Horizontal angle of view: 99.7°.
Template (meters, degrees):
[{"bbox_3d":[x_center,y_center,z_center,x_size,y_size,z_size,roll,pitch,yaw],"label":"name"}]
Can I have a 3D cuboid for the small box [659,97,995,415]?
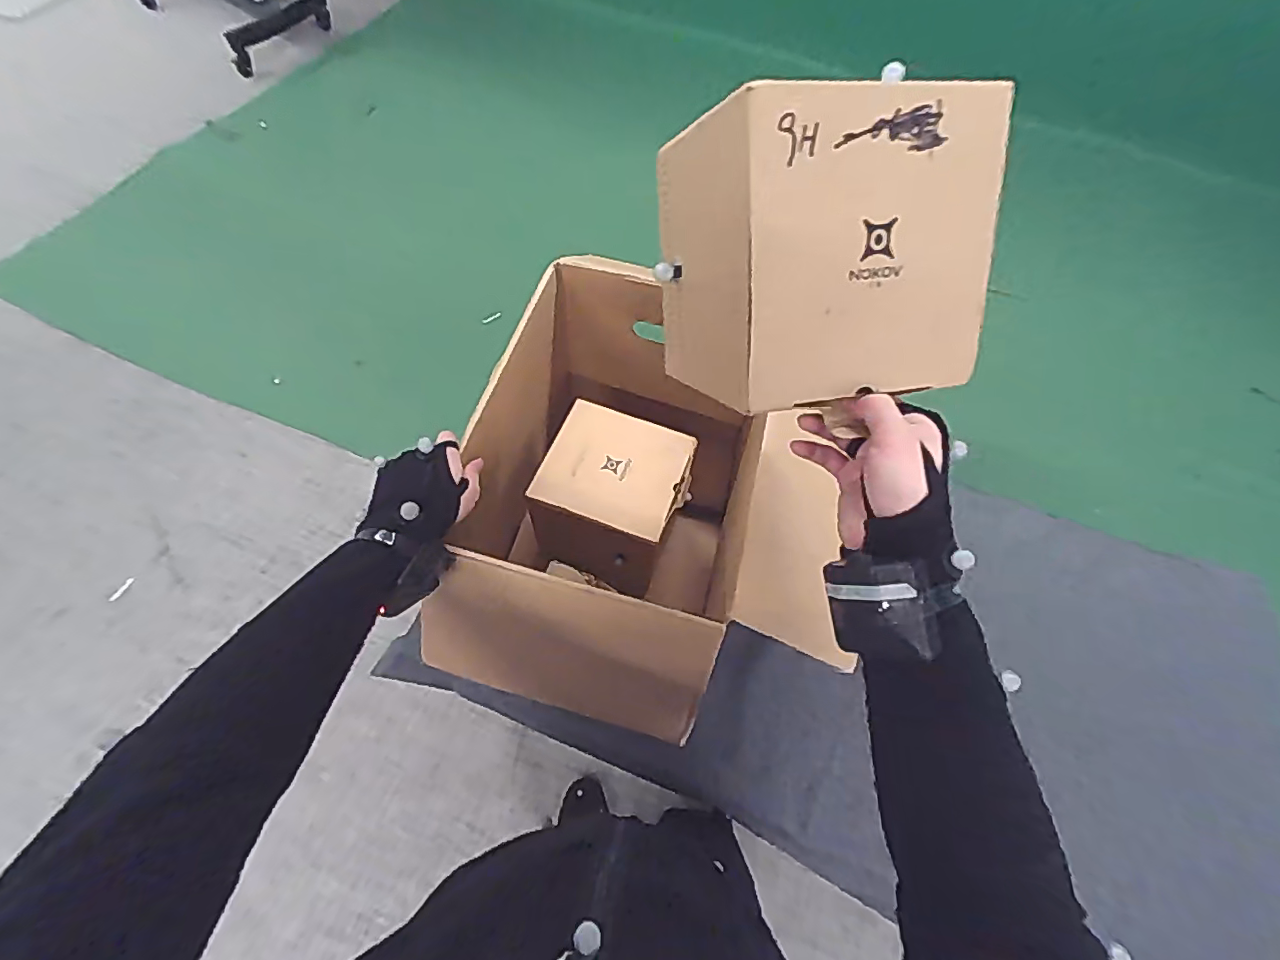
[{"bbox_3d":[0.117,-0.160,0.406,0.168,0.179,0.176,-9,21,-12],"label":"small box"}]
